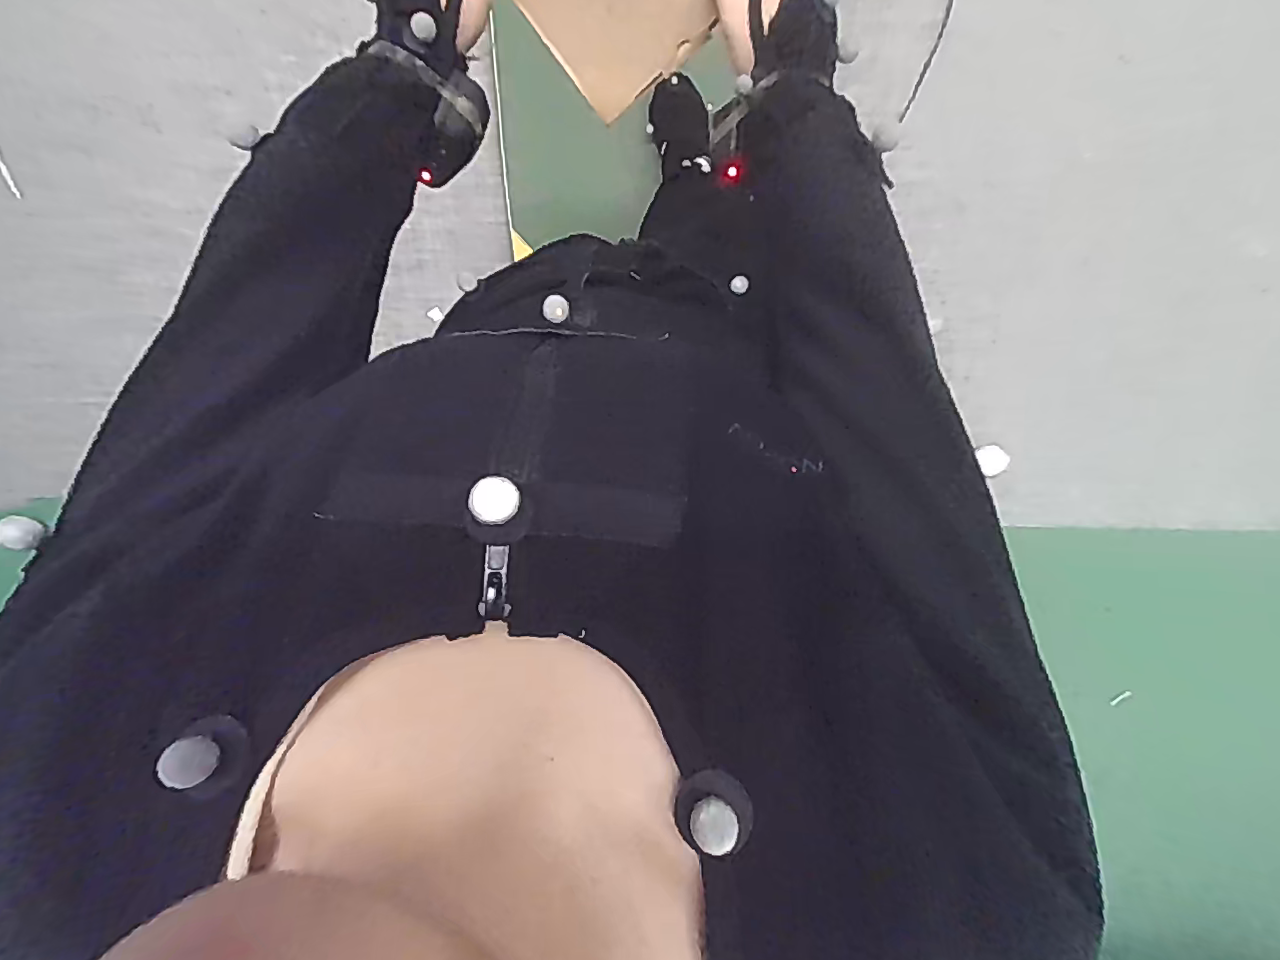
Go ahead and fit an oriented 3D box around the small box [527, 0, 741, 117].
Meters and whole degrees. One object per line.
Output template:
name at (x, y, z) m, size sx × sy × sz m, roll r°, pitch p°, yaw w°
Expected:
small box at (-0.011, -0.447, 0.430) m, size 0.168 × 0.176 × 0.179 m, roll -28°, pitch 129°, yaw 28°
